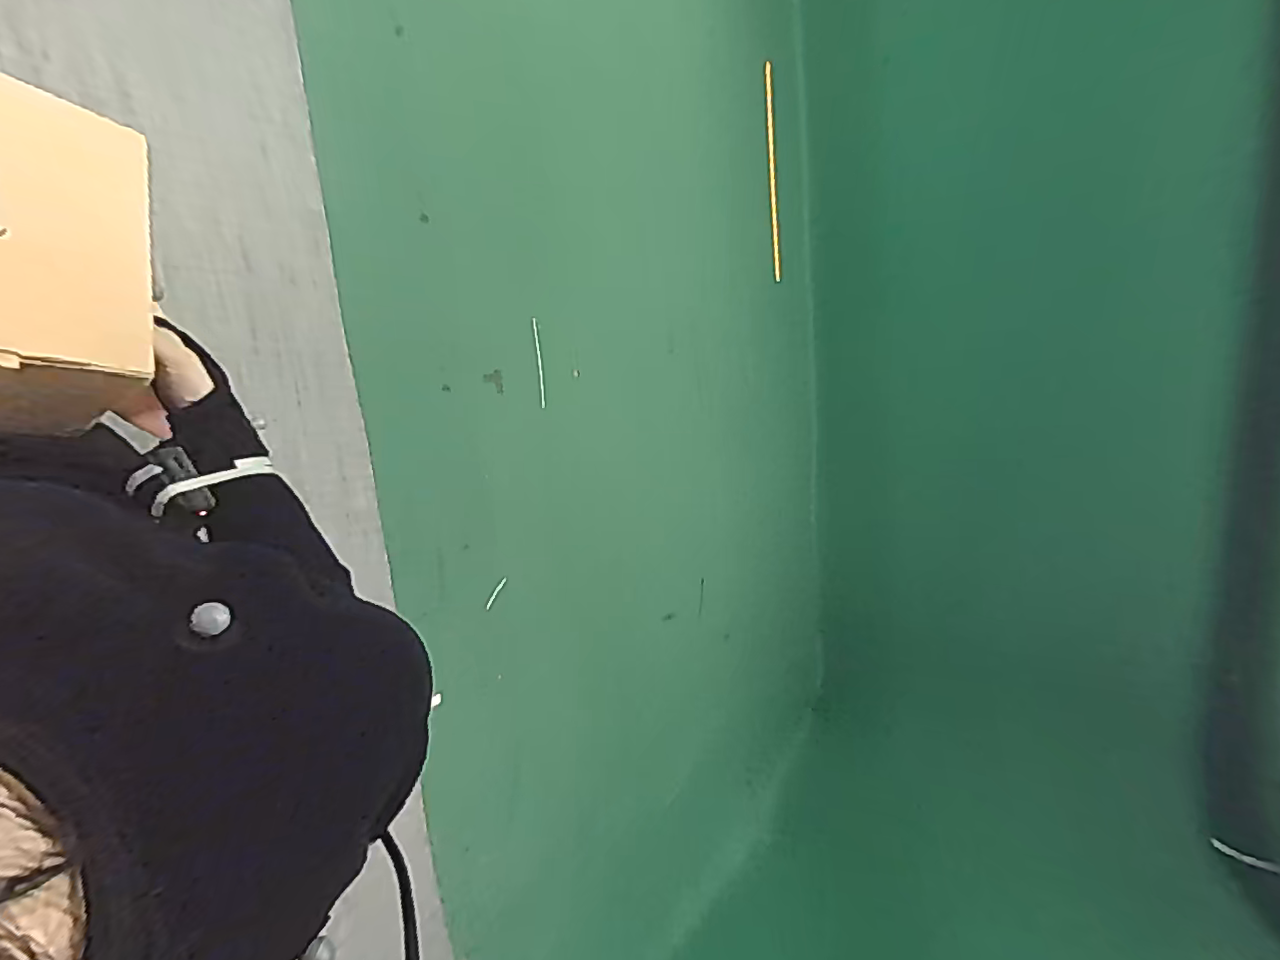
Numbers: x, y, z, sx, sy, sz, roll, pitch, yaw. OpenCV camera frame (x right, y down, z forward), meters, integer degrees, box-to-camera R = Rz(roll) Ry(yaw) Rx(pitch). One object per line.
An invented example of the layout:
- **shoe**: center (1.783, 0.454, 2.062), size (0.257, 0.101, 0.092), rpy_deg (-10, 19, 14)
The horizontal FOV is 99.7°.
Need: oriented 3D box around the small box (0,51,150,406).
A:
- **small box**: center (-0.447, -0.159, 0.337), size (0.168, 0.176, 0.179), rpy_deg (2, 79, -60)
